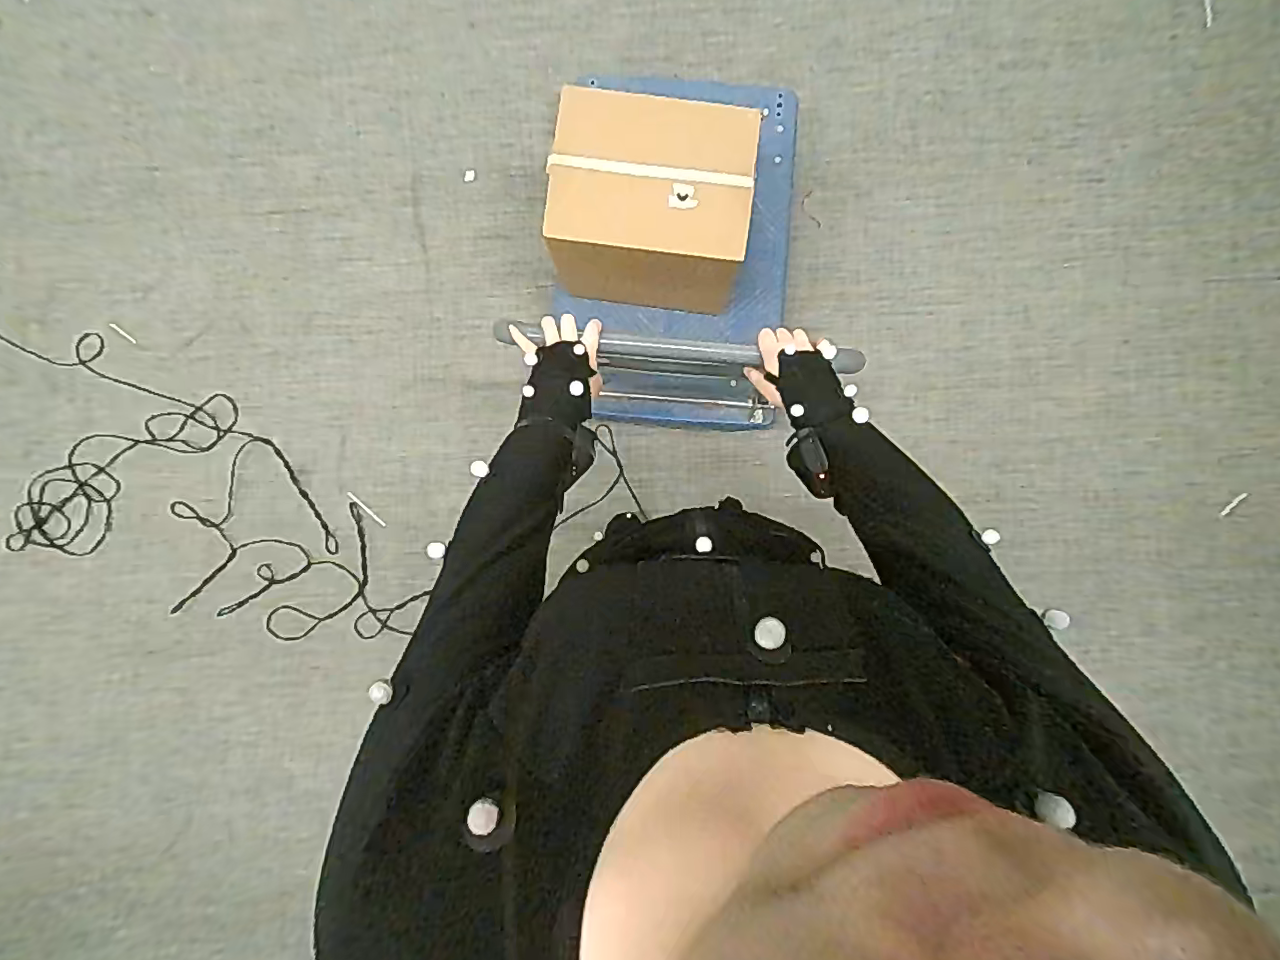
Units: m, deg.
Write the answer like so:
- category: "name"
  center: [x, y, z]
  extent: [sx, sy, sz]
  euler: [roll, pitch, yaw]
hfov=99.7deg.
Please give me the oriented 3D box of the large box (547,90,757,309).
- category: "large box"
  center: [0.022, -0.610, 1.234]
  extent: [0.408, 0.320, 0.320]
  euler: [7, 88, 0]
